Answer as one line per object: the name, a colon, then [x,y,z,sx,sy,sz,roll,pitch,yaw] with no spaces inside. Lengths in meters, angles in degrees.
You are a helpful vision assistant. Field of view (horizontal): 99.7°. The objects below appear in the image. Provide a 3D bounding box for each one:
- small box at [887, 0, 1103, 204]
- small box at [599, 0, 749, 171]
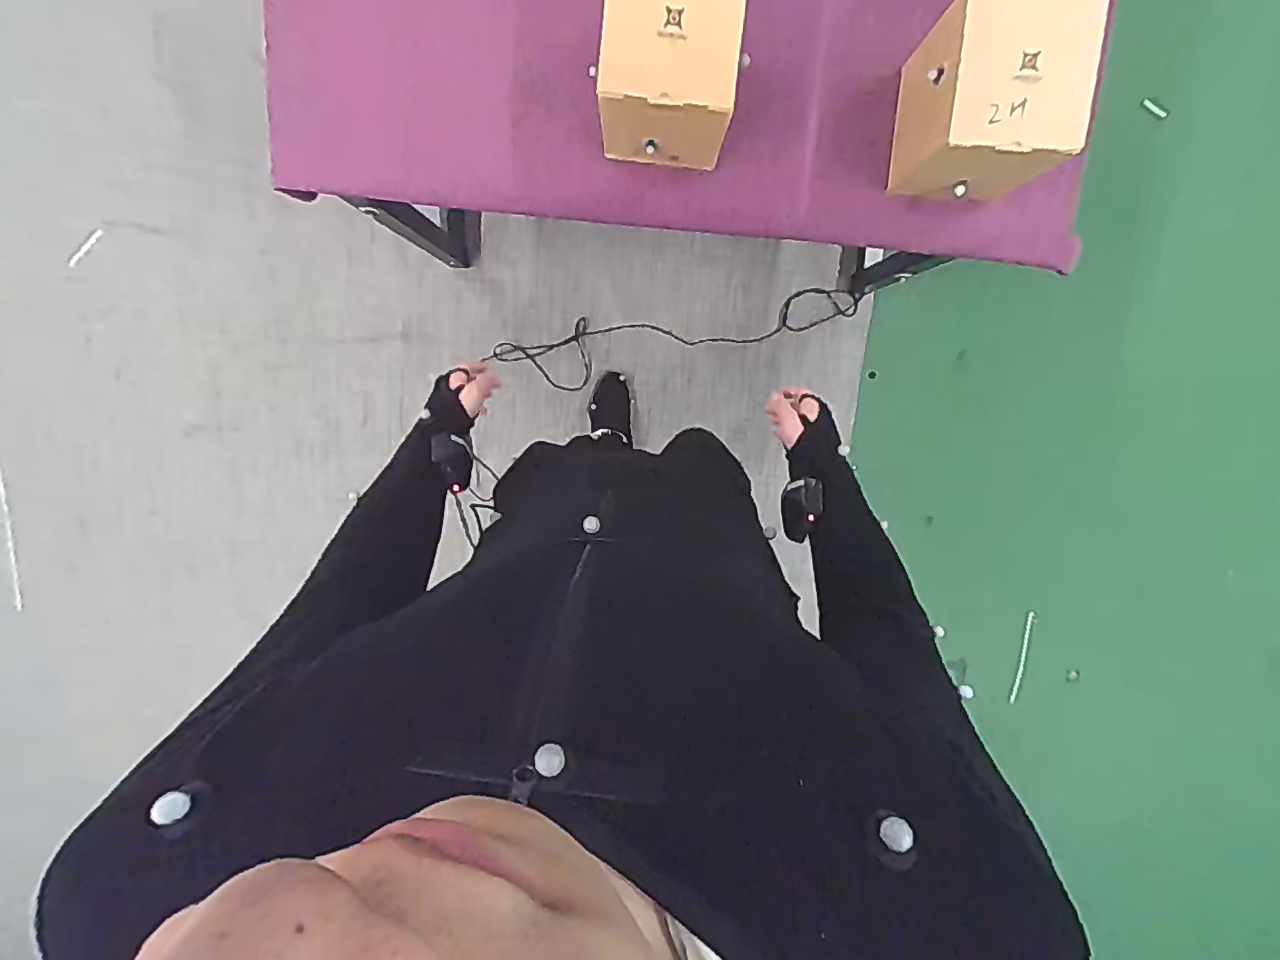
small box: [0.455,-0.495,0.724,0.168,0.176,0.179,4,101,-1]
small box: [0.037,-0.539,0.708,0.168,0.176,0.179,6,100,-3]
